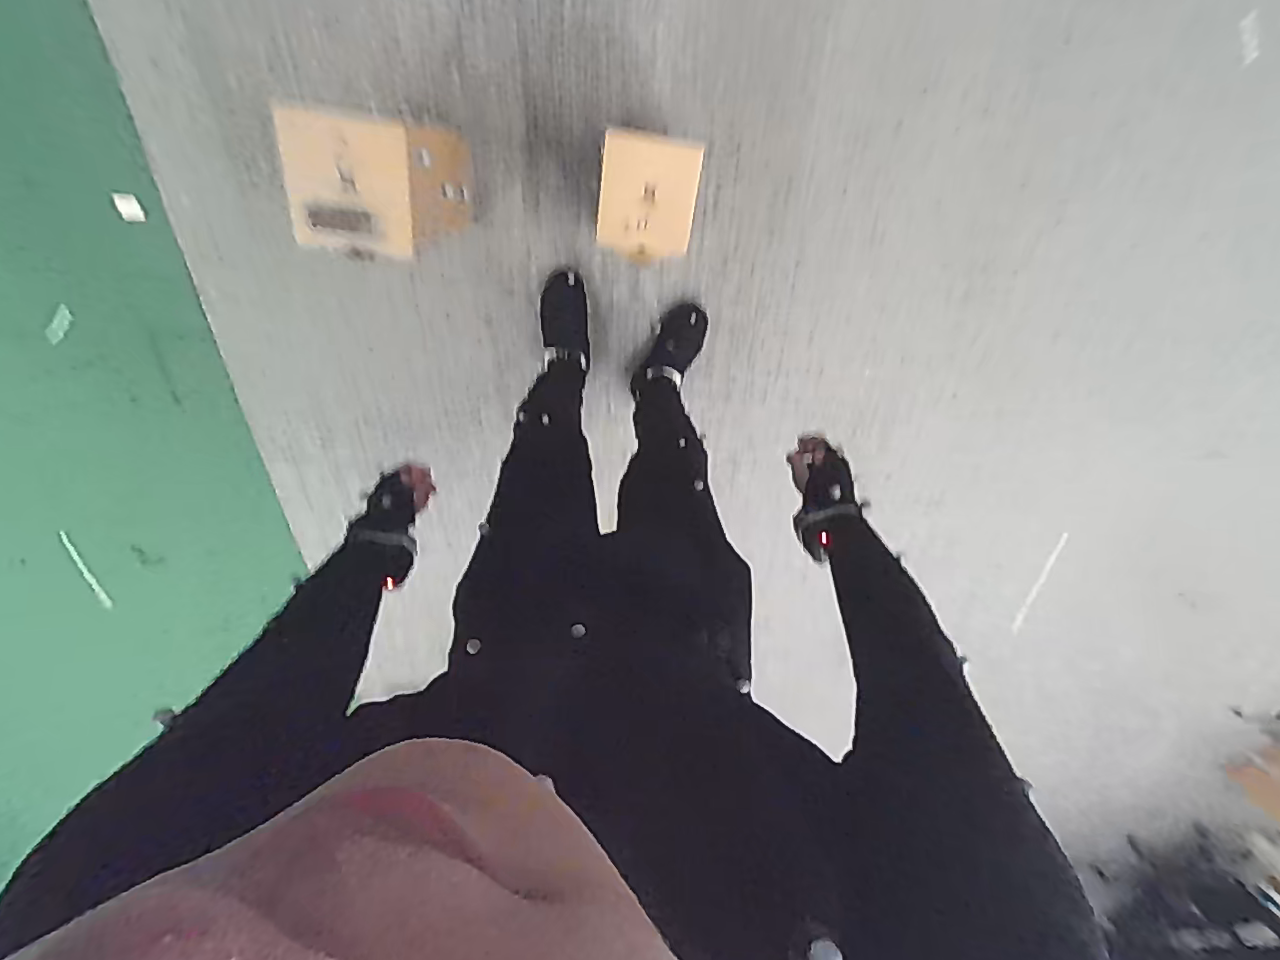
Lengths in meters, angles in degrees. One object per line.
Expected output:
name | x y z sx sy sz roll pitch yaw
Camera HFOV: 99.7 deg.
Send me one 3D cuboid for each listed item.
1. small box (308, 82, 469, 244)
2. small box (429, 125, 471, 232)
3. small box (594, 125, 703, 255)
small box | -0.431 -0.551 0.952 0.179 0.176 0.168 33 116 -22
small box | -0.441 -0.617 1.093 0.168 0.176 0.179 4 121 -8
small box | 0.006 -0.529 0.988 0.168 0.176 0.179 6 121 -7
